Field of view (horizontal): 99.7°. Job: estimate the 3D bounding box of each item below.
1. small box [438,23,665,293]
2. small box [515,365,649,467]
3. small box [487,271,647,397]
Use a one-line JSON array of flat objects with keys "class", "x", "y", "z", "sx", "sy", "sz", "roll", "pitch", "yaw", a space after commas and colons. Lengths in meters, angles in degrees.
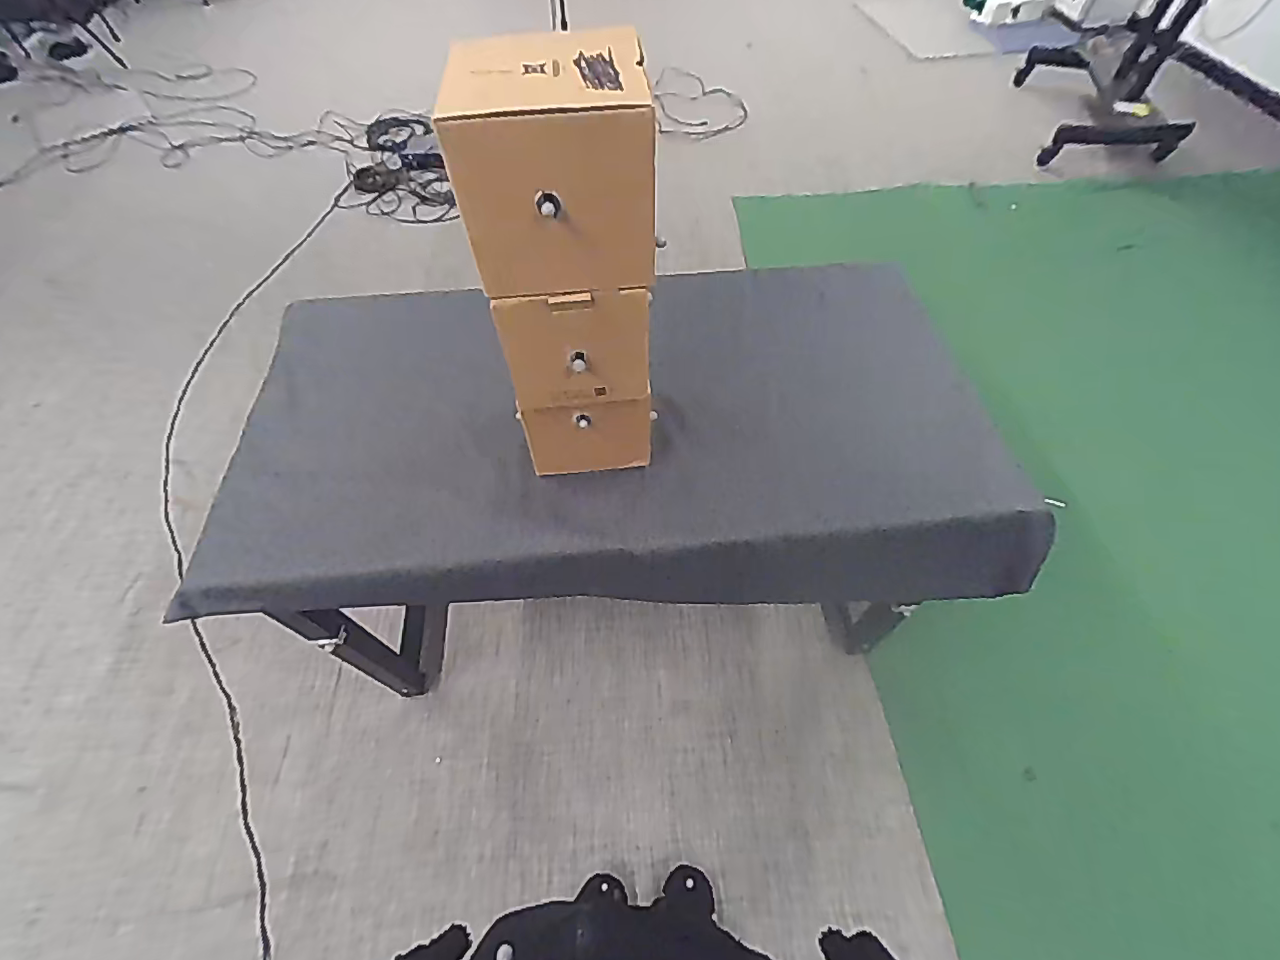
[{"class": "small box", "x": -0.078, "y": -0.304, "z": 0.522, "sx": 0.179, "sy": 0.176, "sz": 0.168, "roll": -7, "pitch": 57, "yaw": -5}, {"class": "small box", "x": -0.080, "y": -0.132, "z": 0.801, "sx": 0.179, "sy": 0.176, "sz": 0.168, "roll": -5, "pitch": 57, "yaw": -3}, {"class": "small box", "x": -0.081, "y": -0.216, "z": 0.662, "sx": 0.168, "sy": 0.176, "sz": 0.179, "roll": -6, "pitch": 58, "yaw": -3}]
